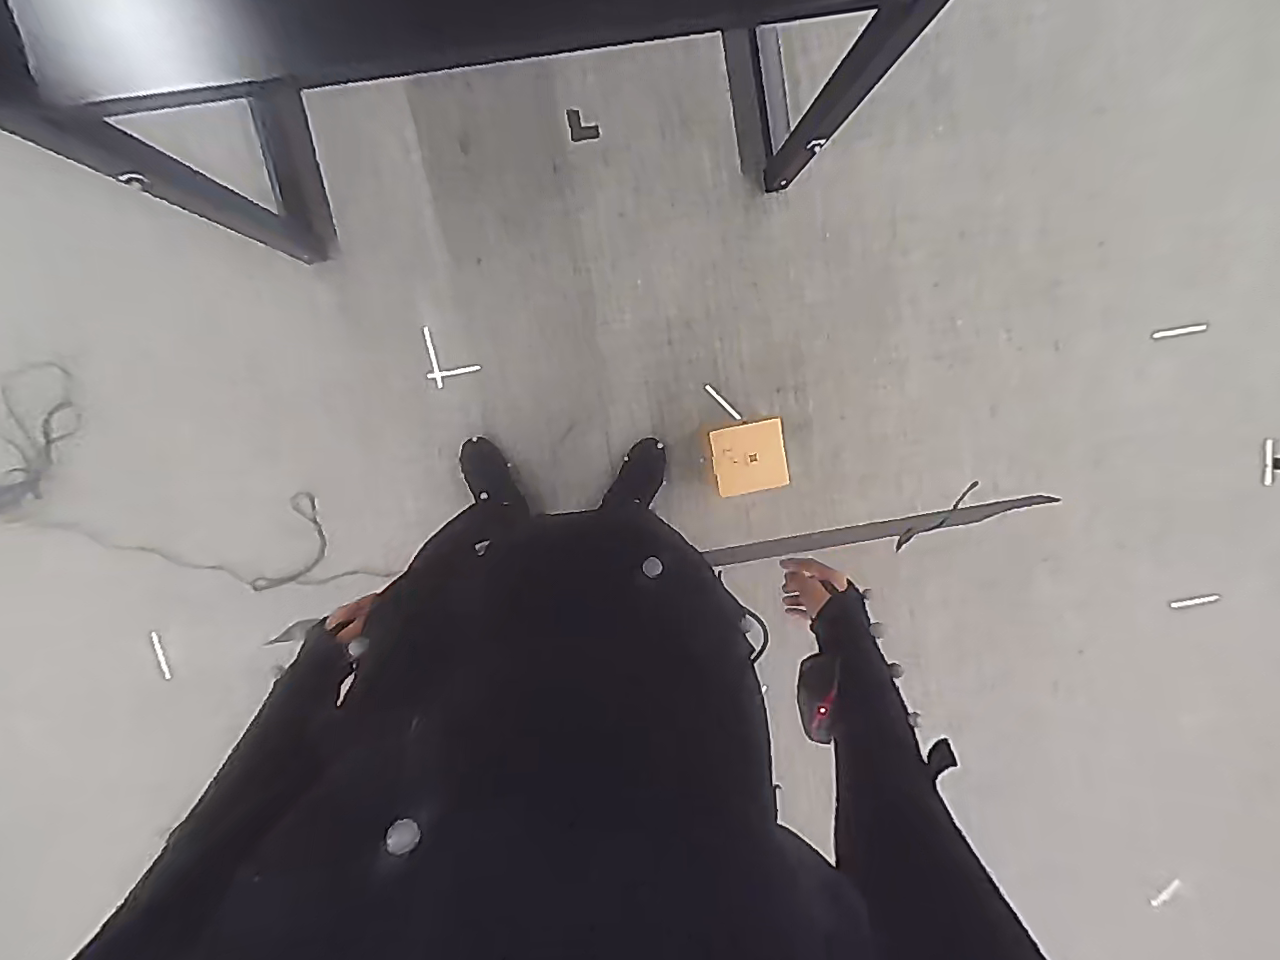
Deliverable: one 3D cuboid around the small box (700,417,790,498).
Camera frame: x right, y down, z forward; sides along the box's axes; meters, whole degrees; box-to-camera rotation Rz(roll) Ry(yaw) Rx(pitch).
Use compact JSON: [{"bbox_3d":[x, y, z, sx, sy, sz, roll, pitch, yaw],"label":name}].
[{"bbox_3d":[0.260,-0.063,1.365,0.179,0.176,0.168,-11,100,-1],"label":"small box"}]
